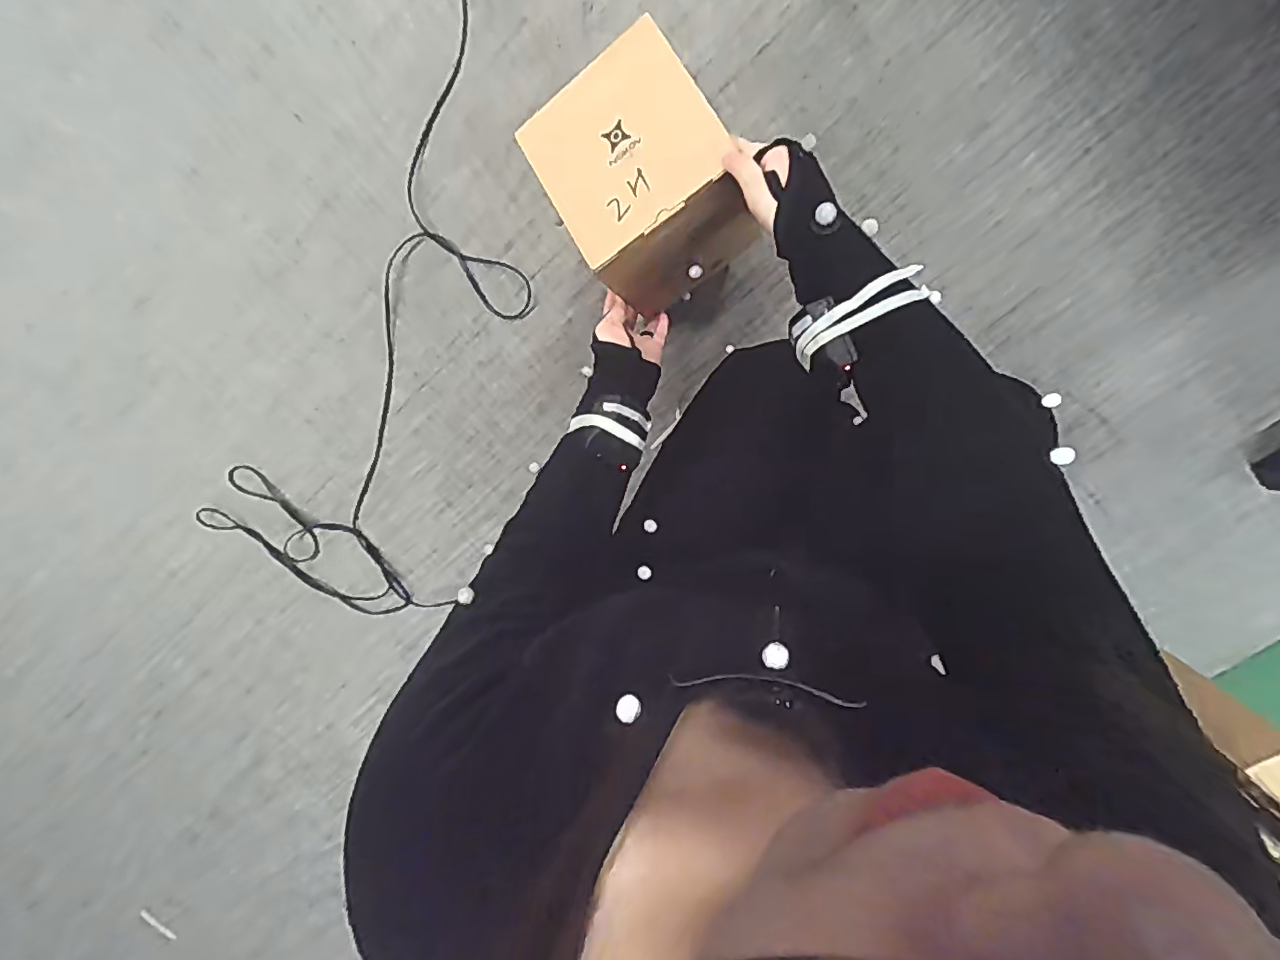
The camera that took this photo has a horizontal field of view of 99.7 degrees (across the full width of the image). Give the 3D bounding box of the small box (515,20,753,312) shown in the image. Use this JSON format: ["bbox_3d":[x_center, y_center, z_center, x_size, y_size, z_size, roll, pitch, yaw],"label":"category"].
[{"bbox_3d":[0.004,-0.313,0.583,0.168,0.176,0.179,-31,82,17],"label":"small box"}]
